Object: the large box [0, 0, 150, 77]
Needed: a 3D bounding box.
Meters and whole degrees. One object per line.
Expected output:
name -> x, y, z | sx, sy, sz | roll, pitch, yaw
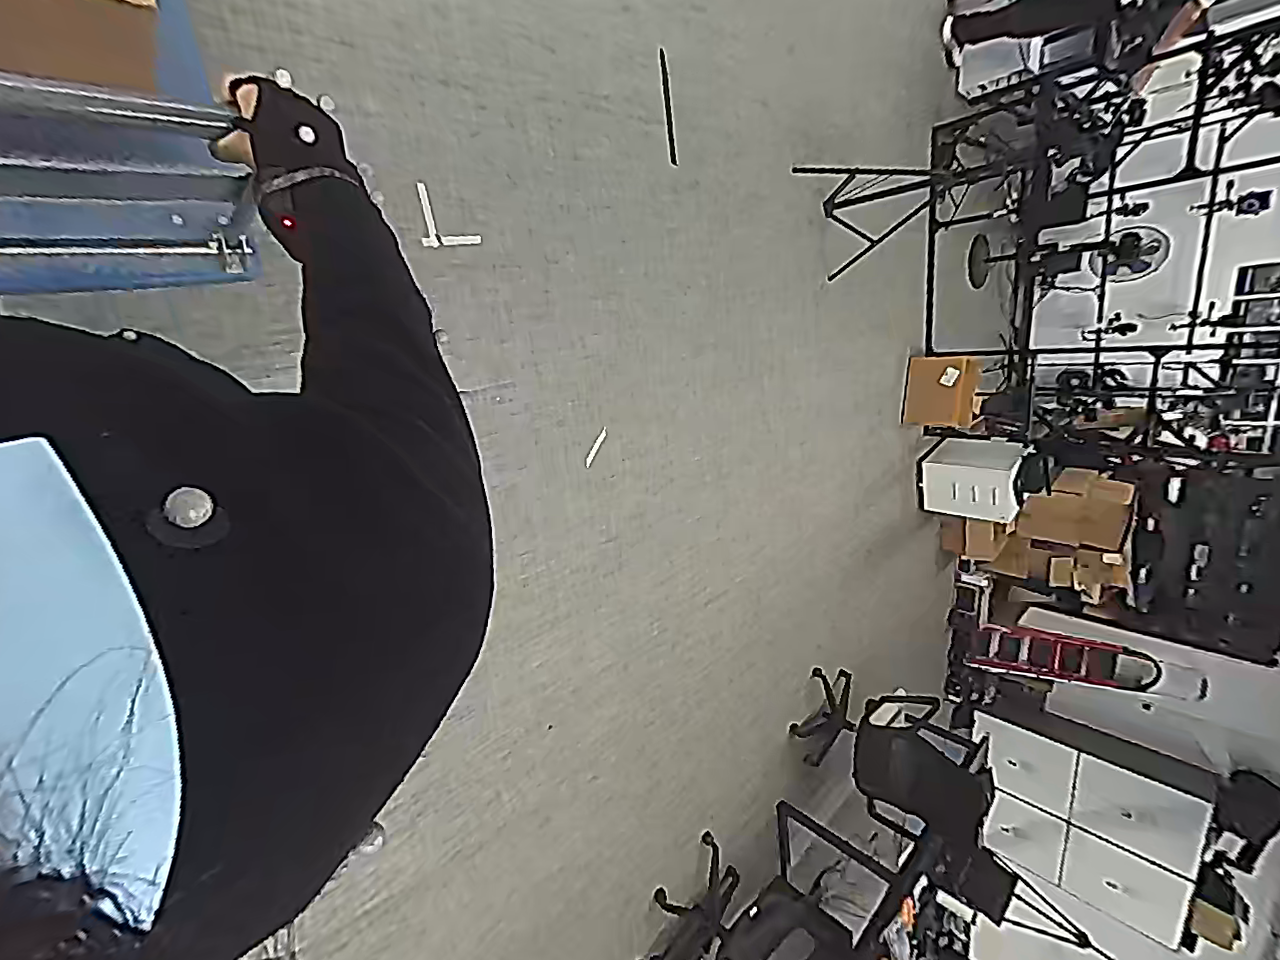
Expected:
large box -> -0.917, -0.767, 0.667 | 0.408, 0.320, 0.320 | -19, 110, -40
